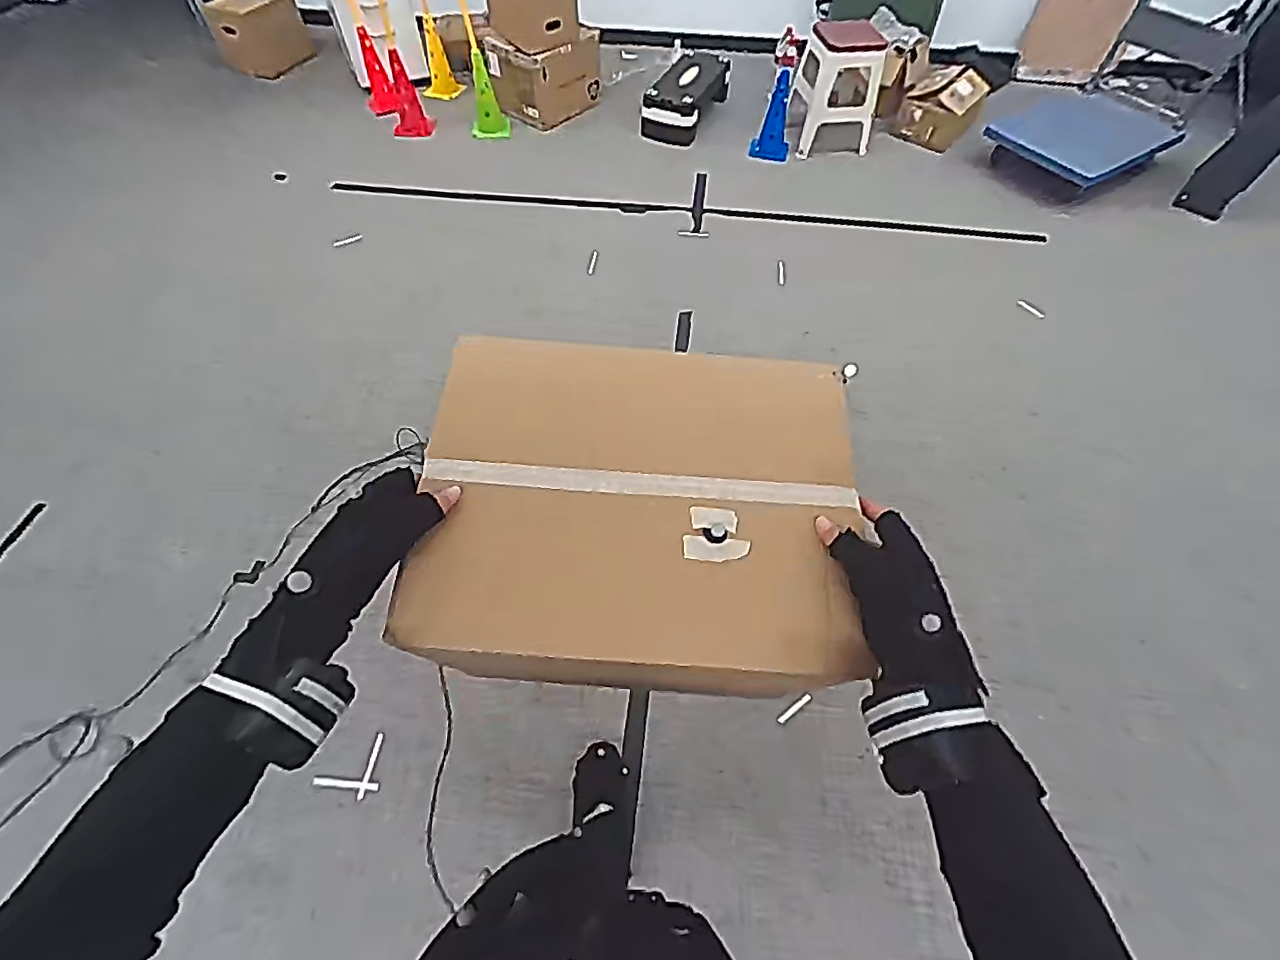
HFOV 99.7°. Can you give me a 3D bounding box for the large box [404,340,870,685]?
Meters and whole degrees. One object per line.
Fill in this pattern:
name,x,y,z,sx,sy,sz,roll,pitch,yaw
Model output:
large box,-0.004,0.064,0.649,0.408,0.320,0.320,5,66,-2
